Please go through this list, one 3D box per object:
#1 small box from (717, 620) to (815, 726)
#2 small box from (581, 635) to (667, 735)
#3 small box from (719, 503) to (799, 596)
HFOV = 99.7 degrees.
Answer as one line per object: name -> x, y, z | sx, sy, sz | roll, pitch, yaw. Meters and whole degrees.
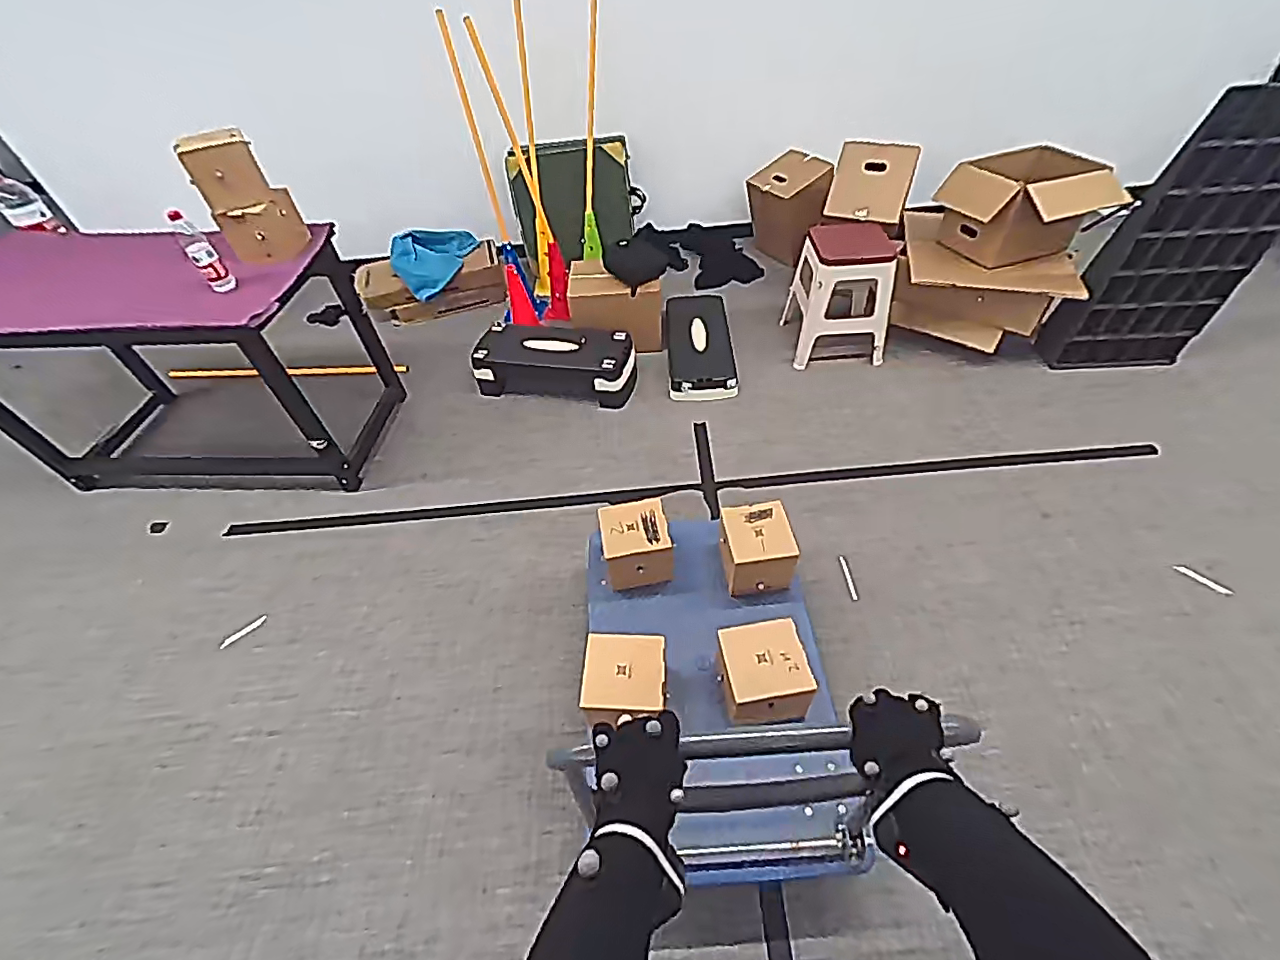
small box -> 0.276, 0.442, 1.229 | 0.179, 0.176, 0.168 | -9, 49, -3
small box -> -0.028, 0.469, 1.233 | 0.179, 0.176, 0.168 | 1, 48, 4
small box -> 0.309, 0.188, 1.450 | 0.168, 0.176, 0.179 | -7, 50, -1
